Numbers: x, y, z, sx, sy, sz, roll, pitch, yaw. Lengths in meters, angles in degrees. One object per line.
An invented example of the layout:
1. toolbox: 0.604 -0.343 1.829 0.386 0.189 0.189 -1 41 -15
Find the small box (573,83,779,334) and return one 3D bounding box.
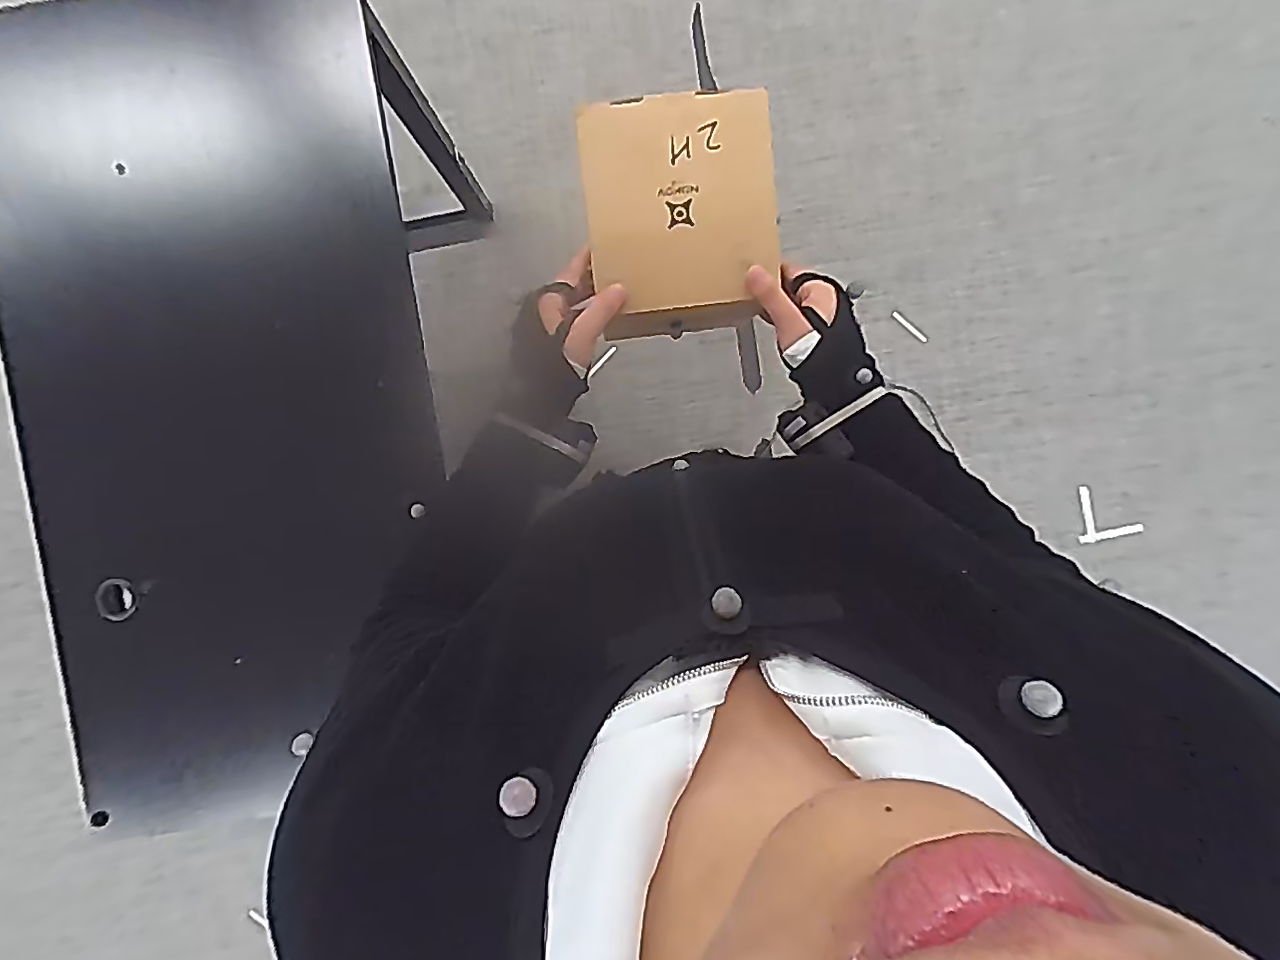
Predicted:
1. small box: 0.033 -0.249 0.544 0.168 0.176 0.179 -7 96 0
